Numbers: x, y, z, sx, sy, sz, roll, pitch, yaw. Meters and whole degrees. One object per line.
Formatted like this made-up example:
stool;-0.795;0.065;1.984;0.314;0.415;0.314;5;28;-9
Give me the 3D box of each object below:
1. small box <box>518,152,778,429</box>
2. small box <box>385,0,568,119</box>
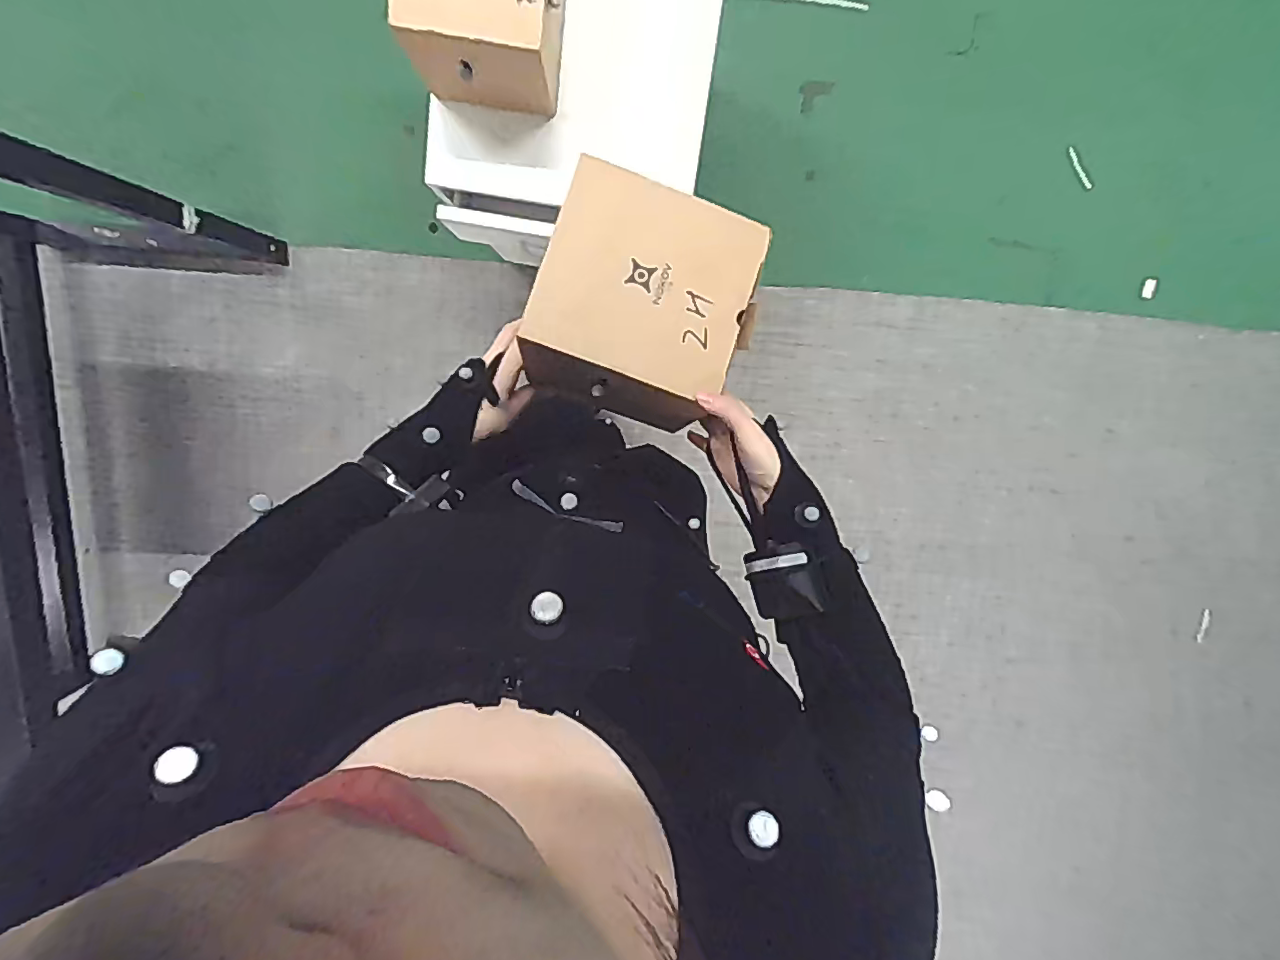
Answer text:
small box;-0.002;-0.157;0.515;0.179;0.176;0.168;19;85;-8
small box;-0.193;-0.587;0.677;0.179;0.176;0.168;7;100;-4
